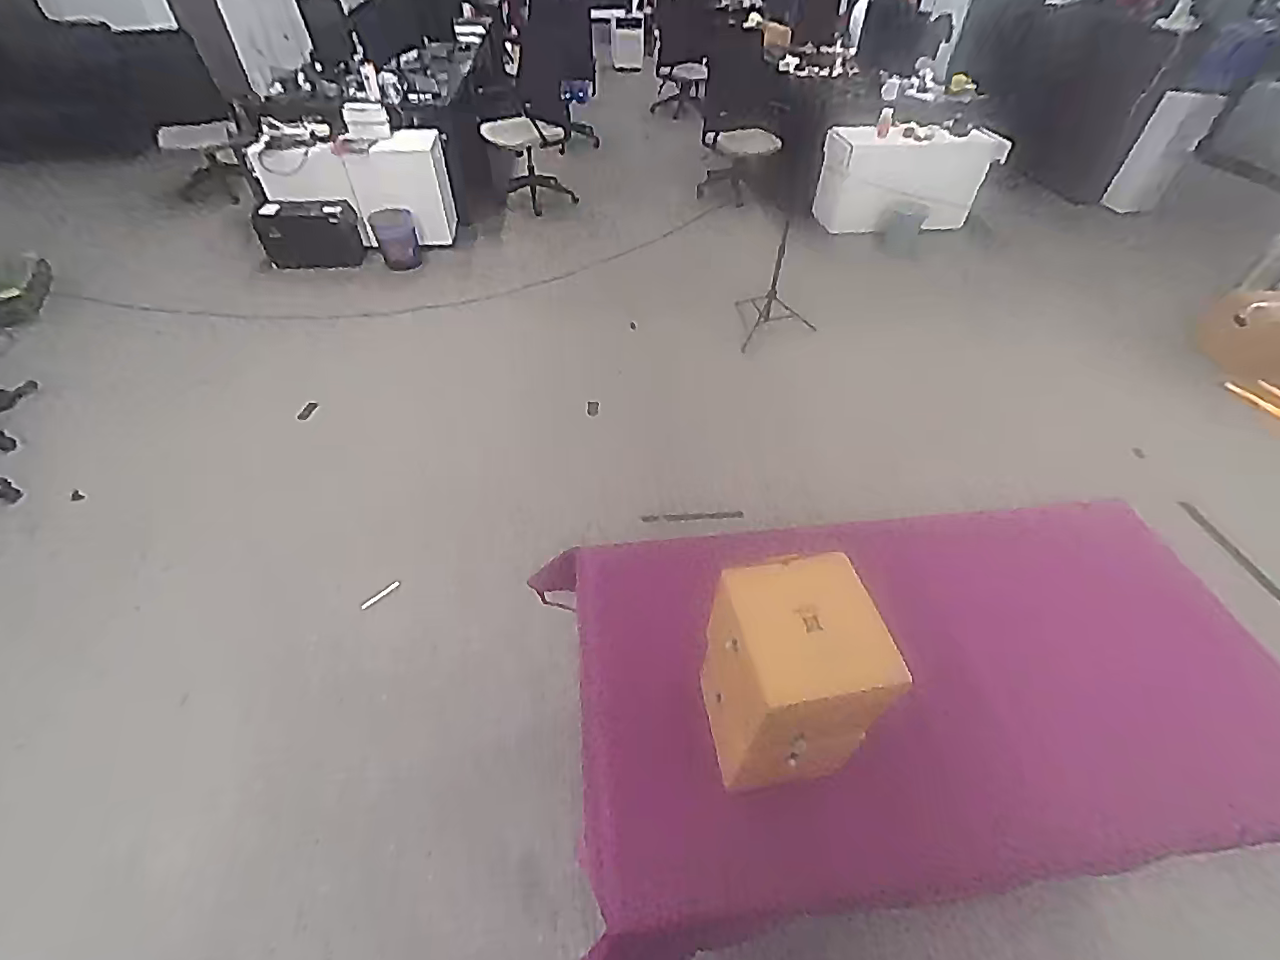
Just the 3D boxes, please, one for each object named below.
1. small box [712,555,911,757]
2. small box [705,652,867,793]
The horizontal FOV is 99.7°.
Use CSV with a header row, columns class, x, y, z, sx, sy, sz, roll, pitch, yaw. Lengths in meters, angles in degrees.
class,x,y,z,sx,sy,sz,roll,pitch,yaw
small box,0.196,0.221,0.683,0.168,0.176,0.179,-7,47,-8
small box,0.199,0.335,0.801,0.168,0.176,0.179,-6,47,-7
